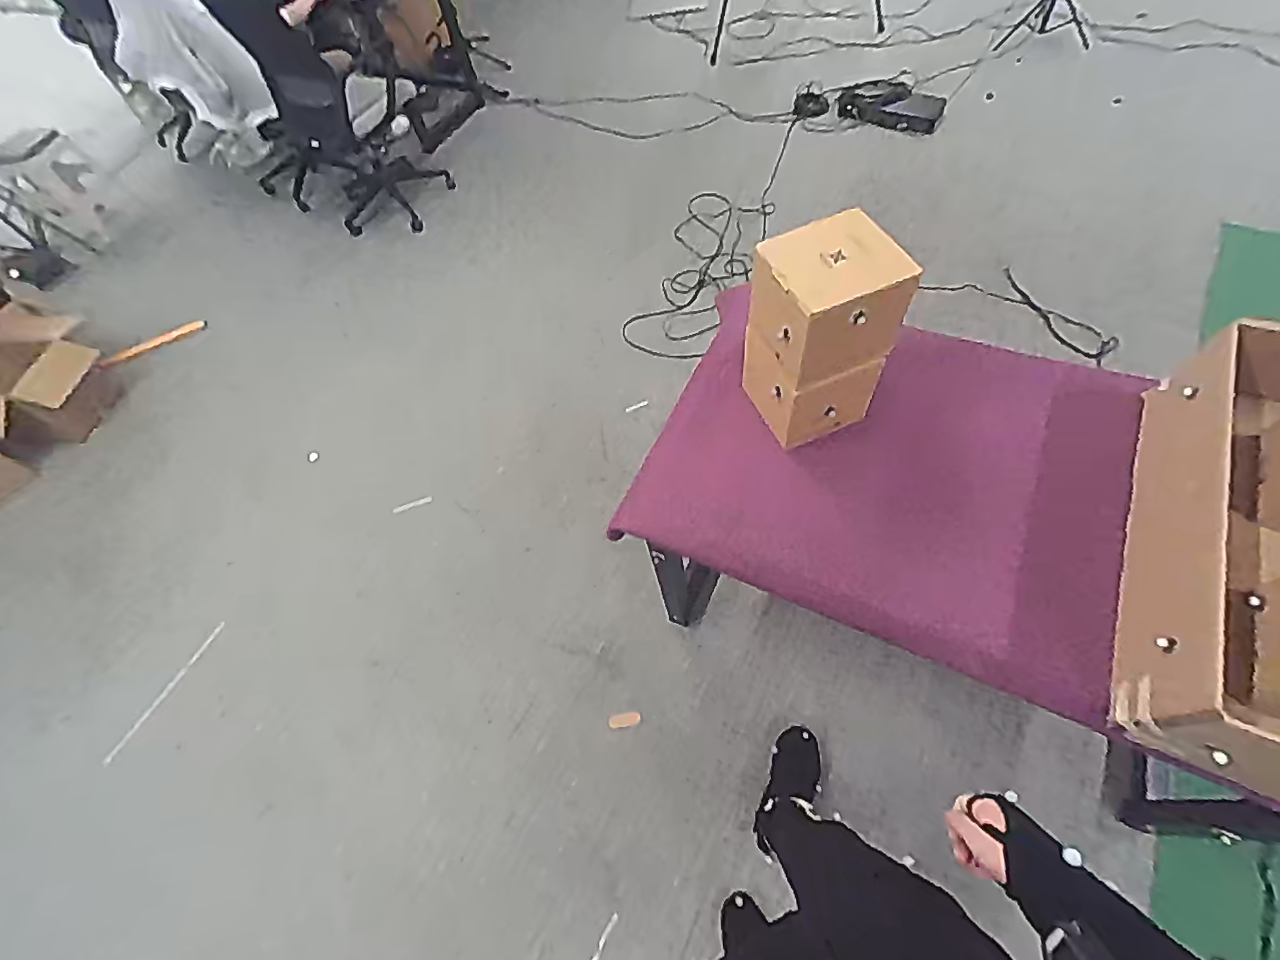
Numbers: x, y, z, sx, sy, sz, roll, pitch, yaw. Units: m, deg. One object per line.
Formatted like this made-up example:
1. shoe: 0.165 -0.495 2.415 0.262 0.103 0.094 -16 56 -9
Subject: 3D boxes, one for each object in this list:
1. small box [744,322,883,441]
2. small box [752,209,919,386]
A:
1. small box: 0.300 -0.191 0.977 0.168 0.176 0.179 -21 59 -5
2. small box: 0.286 -0.274 0.838 0.179 0.176 0.168 -21 61 -4
